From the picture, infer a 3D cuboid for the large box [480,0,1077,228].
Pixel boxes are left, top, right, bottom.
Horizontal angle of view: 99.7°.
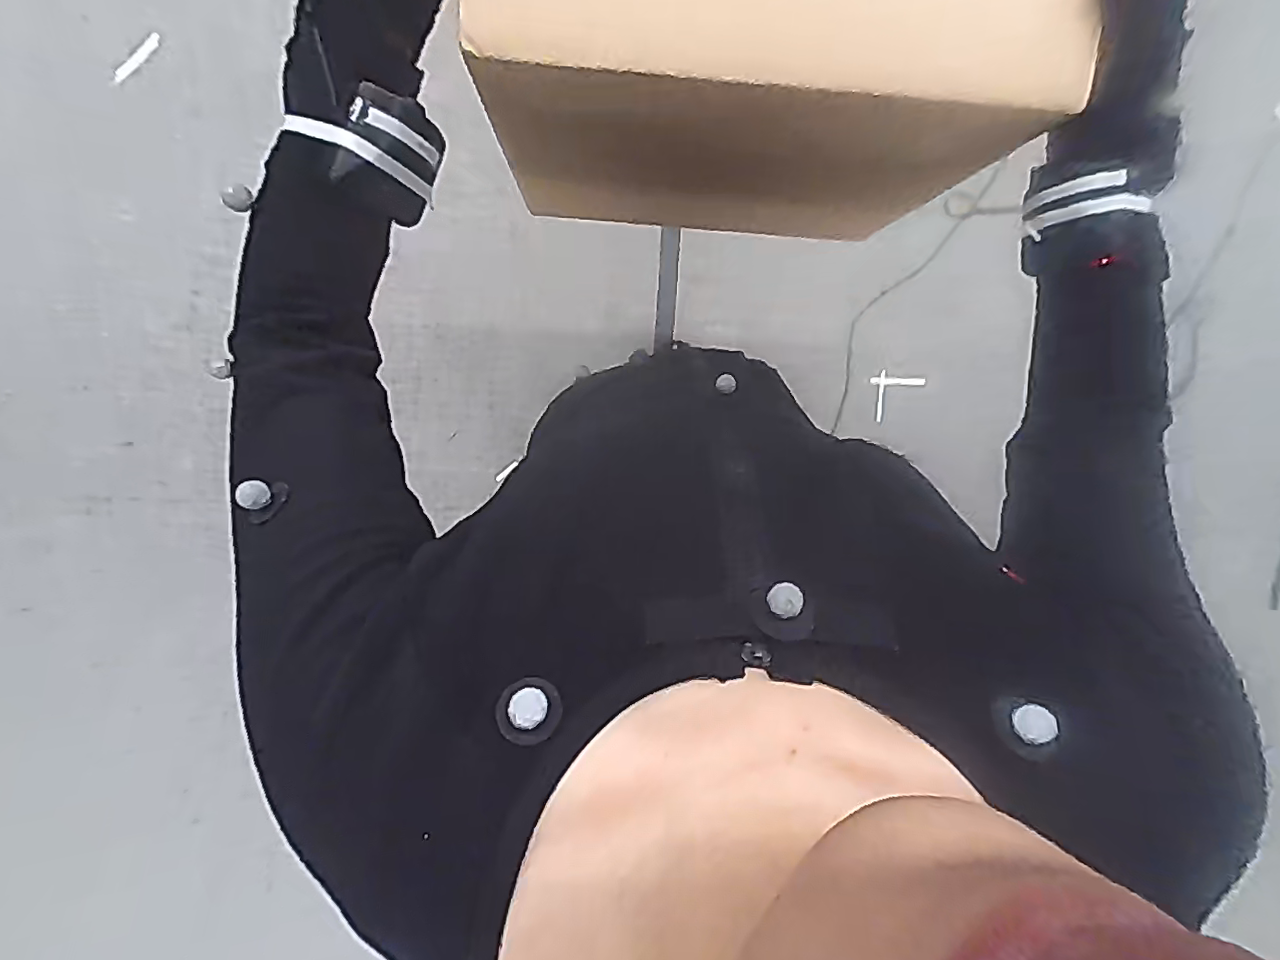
[{"bbox_3d":[0.088,-0.440,0.481,0.408,0.320,0.320,2,100,-5],"label":"large box"}]
